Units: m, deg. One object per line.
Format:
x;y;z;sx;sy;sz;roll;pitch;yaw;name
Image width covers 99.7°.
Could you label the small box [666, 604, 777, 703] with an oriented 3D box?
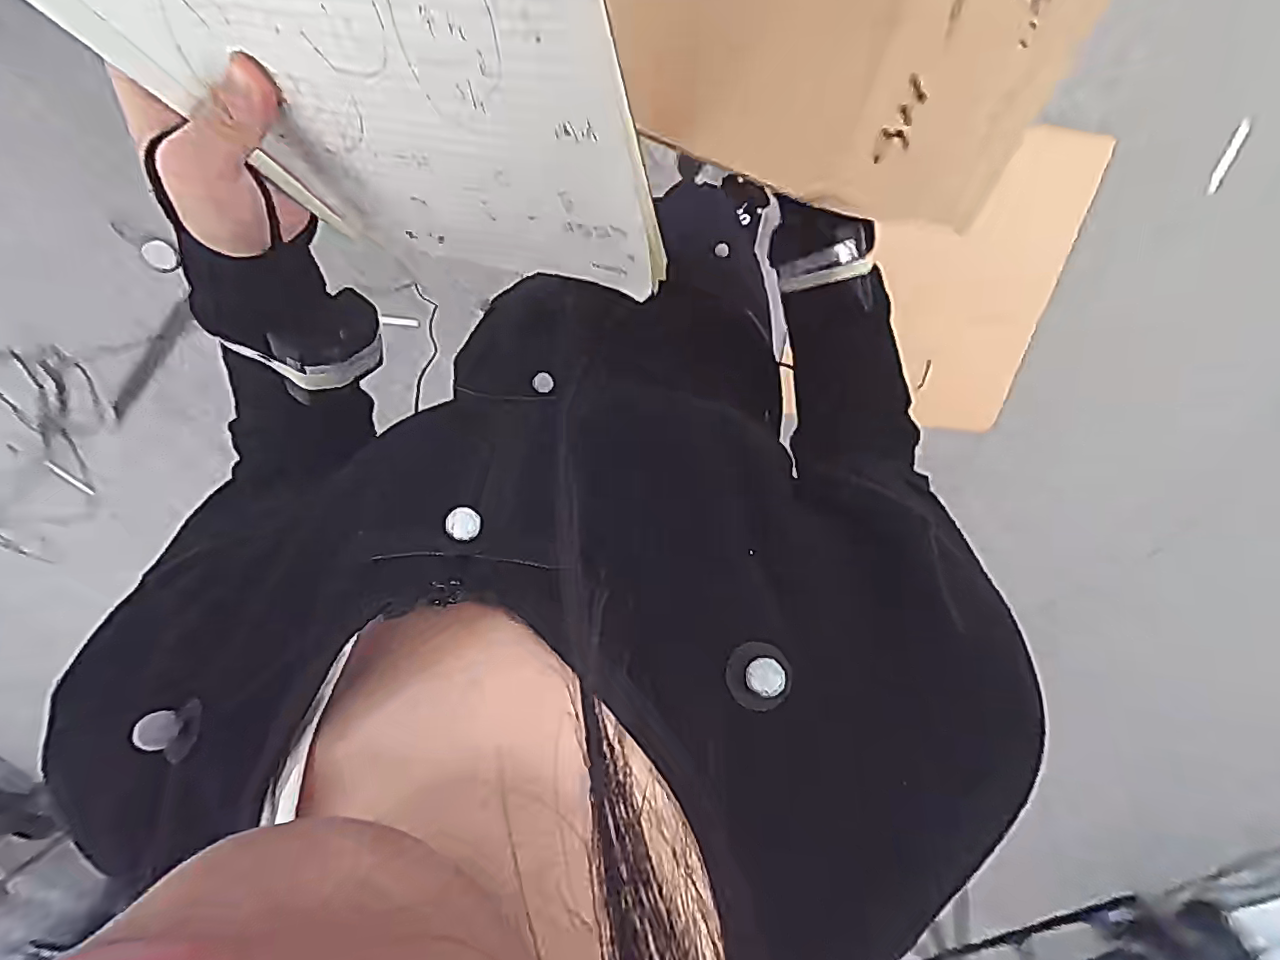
0.172;0.409;1.188;0.179;0.176;0.168;-35;113;18;small box
